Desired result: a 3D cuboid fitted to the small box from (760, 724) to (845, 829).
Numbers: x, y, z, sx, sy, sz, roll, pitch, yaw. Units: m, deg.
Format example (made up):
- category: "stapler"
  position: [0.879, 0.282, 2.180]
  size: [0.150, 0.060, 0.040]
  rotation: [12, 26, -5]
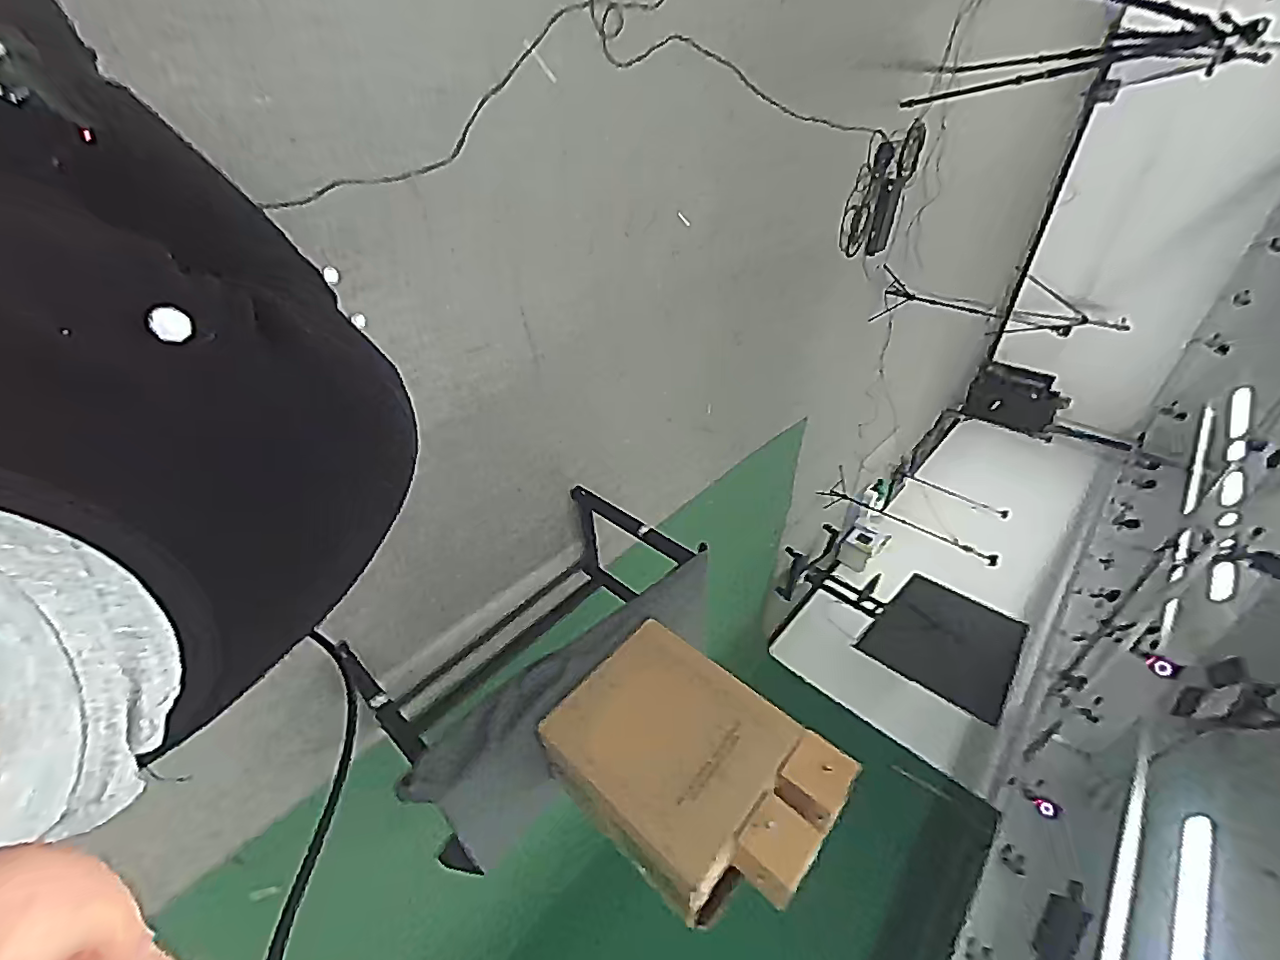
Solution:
- category: "small box"
  position: [0.479, 0.871, 1.605]
  size: [0.179, 0.176, 0.168]
  rotation: [-32, 135, -40]
